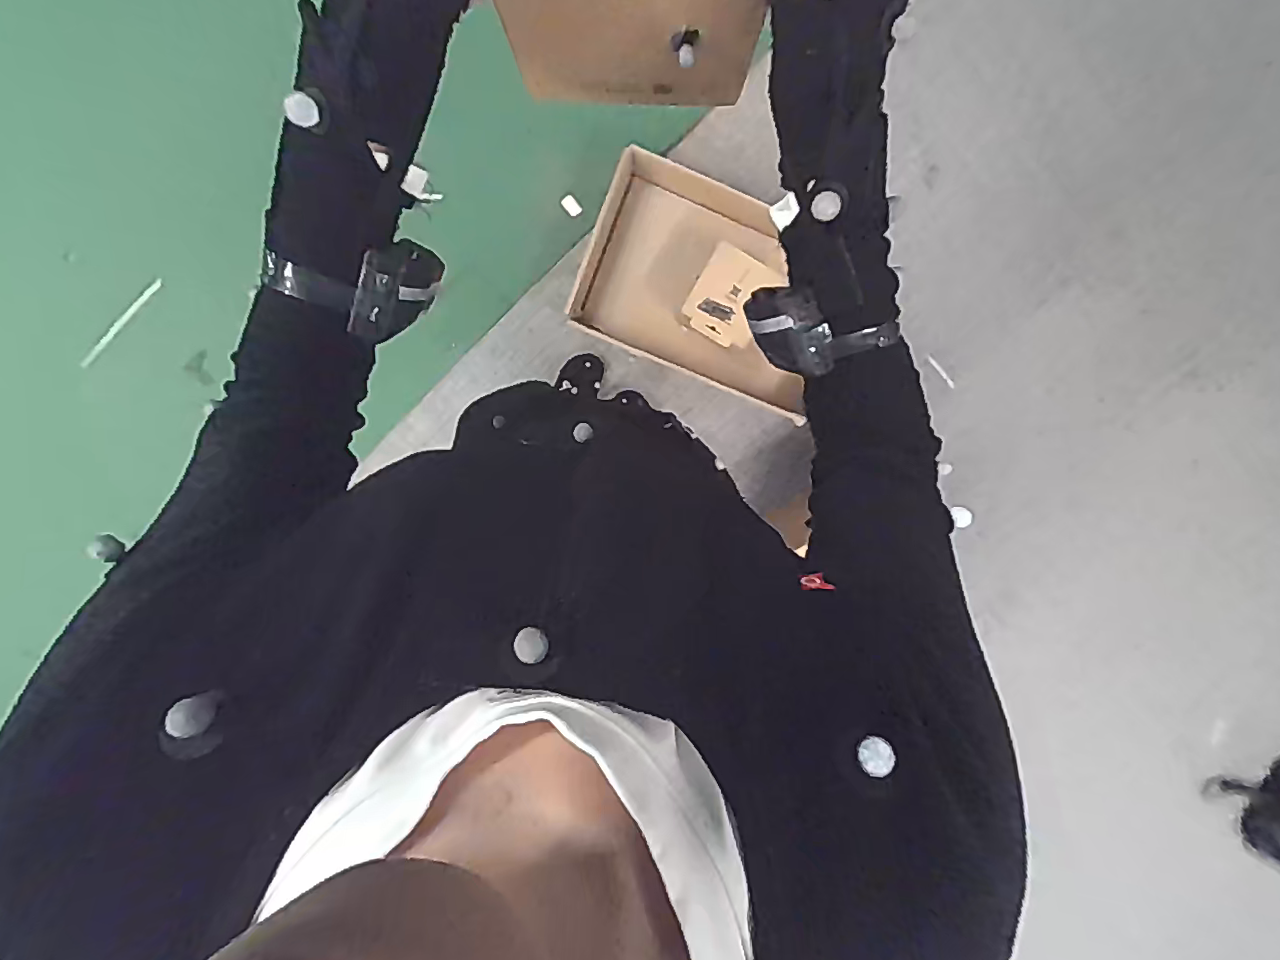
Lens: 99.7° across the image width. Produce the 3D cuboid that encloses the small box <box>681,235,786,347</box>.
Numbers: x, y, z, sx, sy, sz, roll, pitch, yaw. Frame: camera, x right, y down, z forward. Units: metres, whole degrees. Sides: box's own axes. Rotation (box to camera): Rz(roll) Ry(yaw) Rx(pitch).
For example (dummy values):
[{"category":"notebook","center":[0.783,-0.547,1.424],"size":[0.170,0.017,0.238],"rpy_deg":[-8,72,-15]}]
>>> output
[{"category":"small box","center":[0.206,-0.426,1.255],"size":[0.168,0.176,0.179],"rpy_deg":[30,98,-5]}]
